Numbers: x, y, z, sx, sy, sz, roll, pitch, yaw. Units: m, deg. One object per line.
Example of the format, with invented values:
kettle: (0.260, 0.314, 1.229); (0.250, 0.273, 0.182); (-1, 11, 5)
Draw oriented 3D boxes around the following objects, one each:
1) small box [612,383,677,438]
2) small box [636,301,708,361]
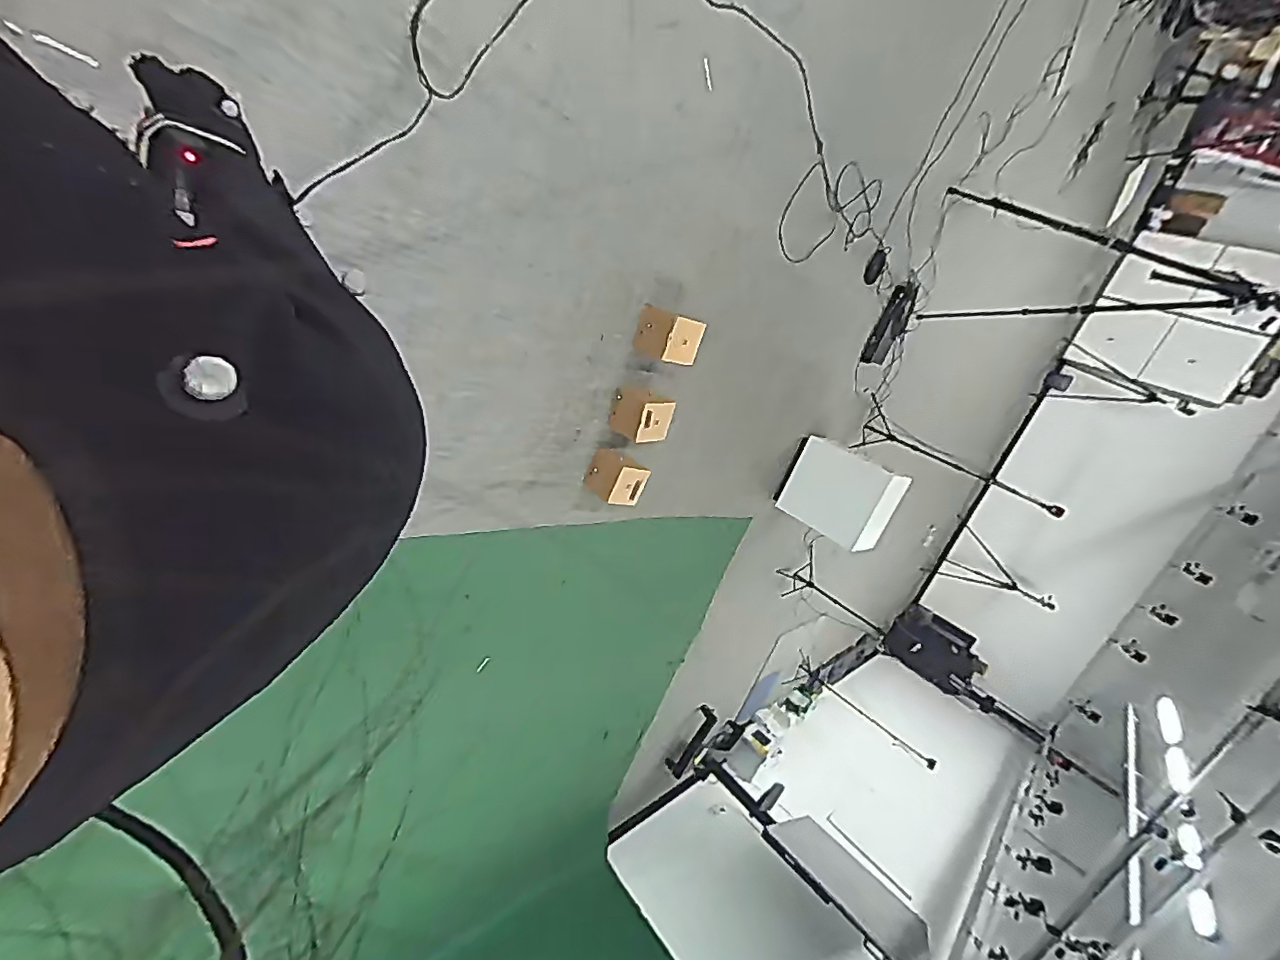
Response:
small box: (0.013, -0.278, 2.132); (0.179, 0.176, 0.168); (-10, 125, -44)
small box: (0.116, -0.558, 2.024); (0.179, 0.176, 0.168); (-4, 120, -45)
